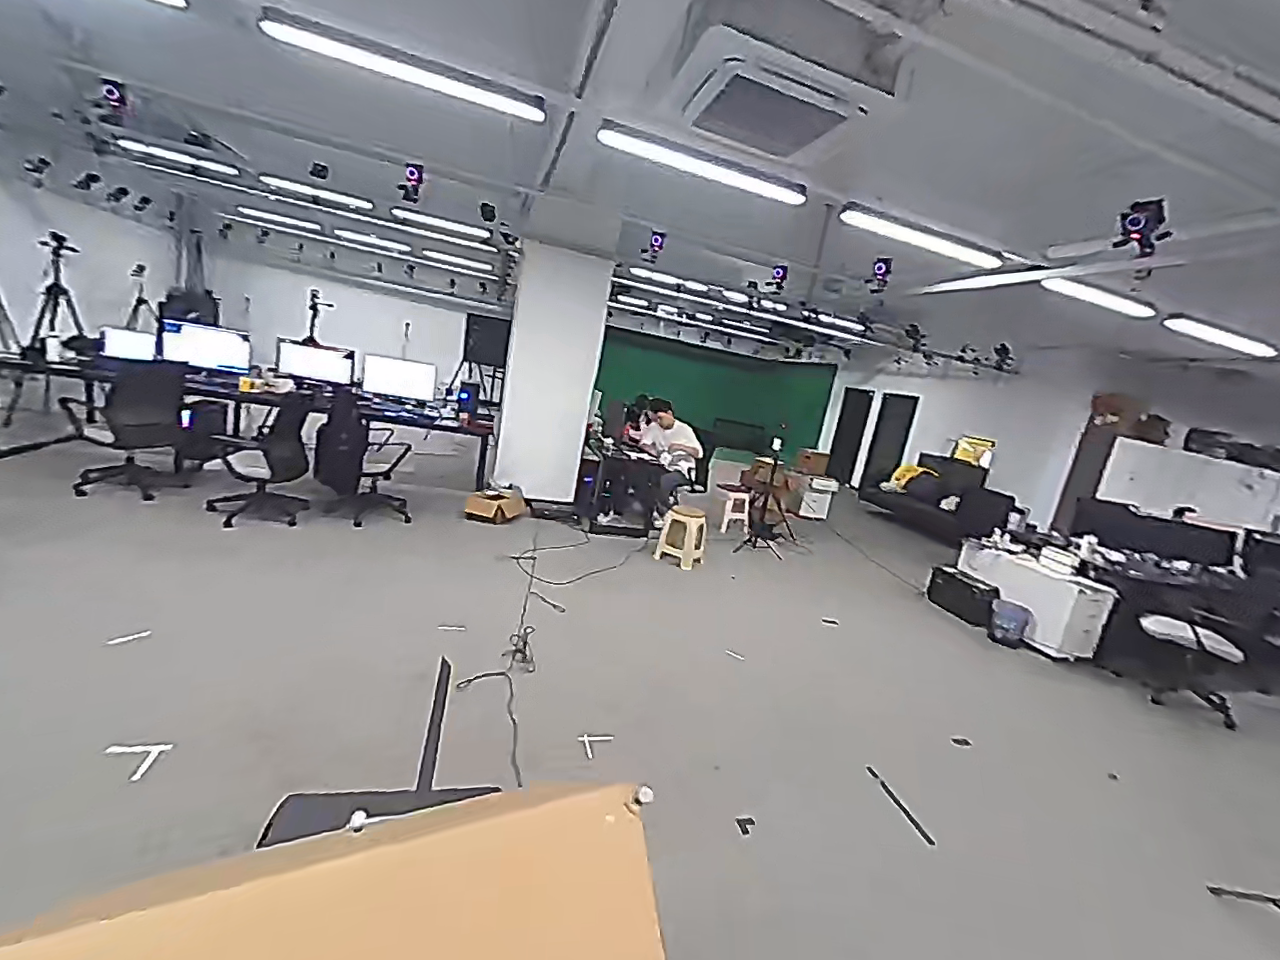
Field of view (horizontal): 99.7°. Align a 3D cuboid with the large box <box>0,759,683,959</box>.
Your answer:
[{"bbox_3d":[-0.200,0.423,0.395,0.408,0.320,0.320,-1,-25,-24],"label":"large box"}]
